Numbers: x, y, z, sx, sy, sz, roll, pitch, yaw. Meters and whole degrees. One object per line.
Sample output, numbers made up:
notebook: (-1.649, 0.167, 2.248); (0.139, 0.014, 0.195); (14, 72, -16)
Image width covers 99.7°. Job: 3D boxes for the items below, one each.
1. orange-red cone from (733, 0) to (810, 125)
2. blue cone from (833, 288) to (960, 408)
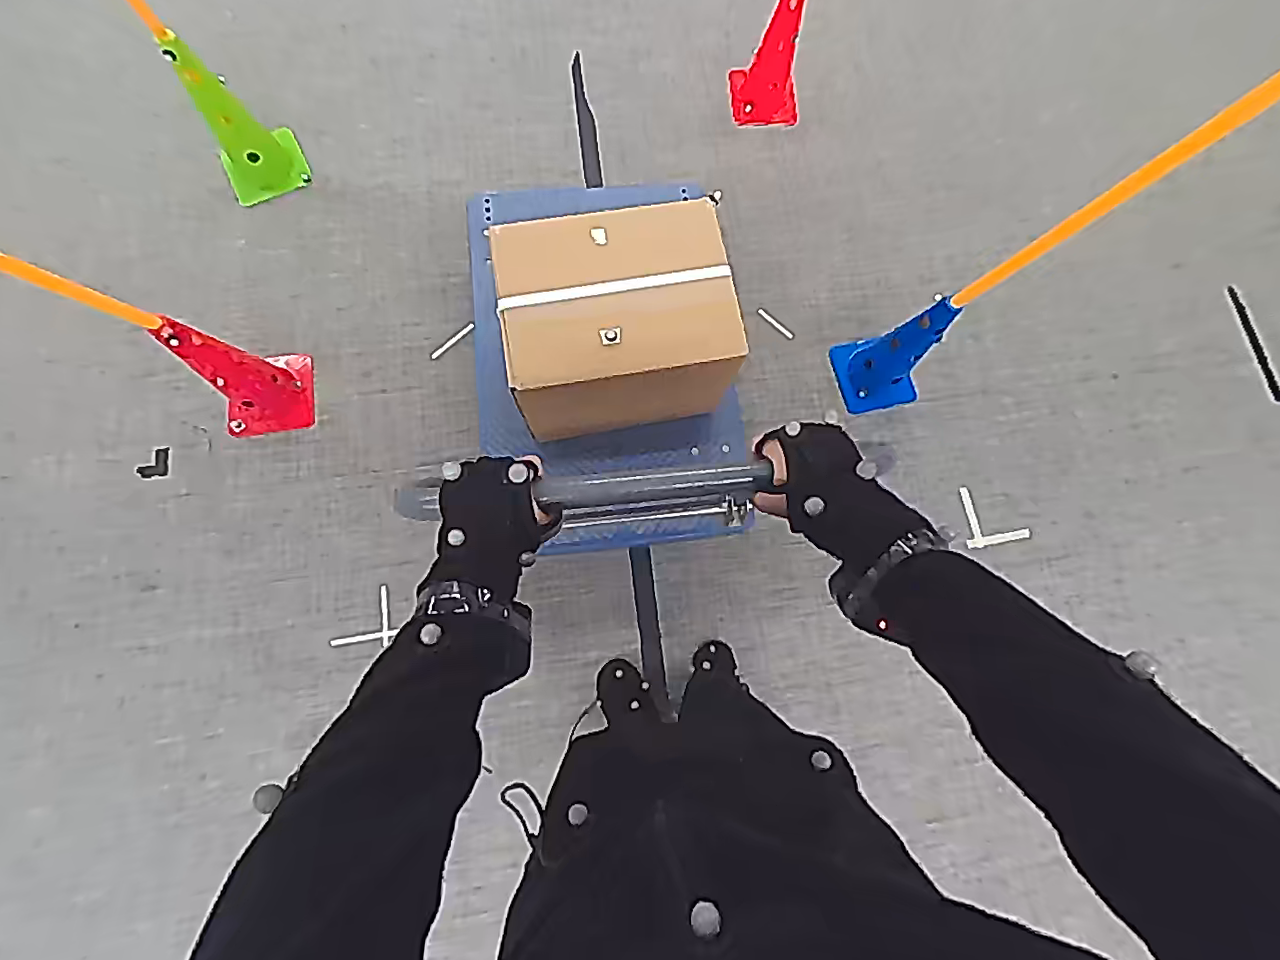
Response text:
orange-red cone: (0.391, -1.189, 1.457); (0.199, 0.360, 0.198); (0, 78, -5)
blue cone: (0.638, -0.327, 1.293); (0.193, 0.380, 0.192); (-11, 77, -6)
